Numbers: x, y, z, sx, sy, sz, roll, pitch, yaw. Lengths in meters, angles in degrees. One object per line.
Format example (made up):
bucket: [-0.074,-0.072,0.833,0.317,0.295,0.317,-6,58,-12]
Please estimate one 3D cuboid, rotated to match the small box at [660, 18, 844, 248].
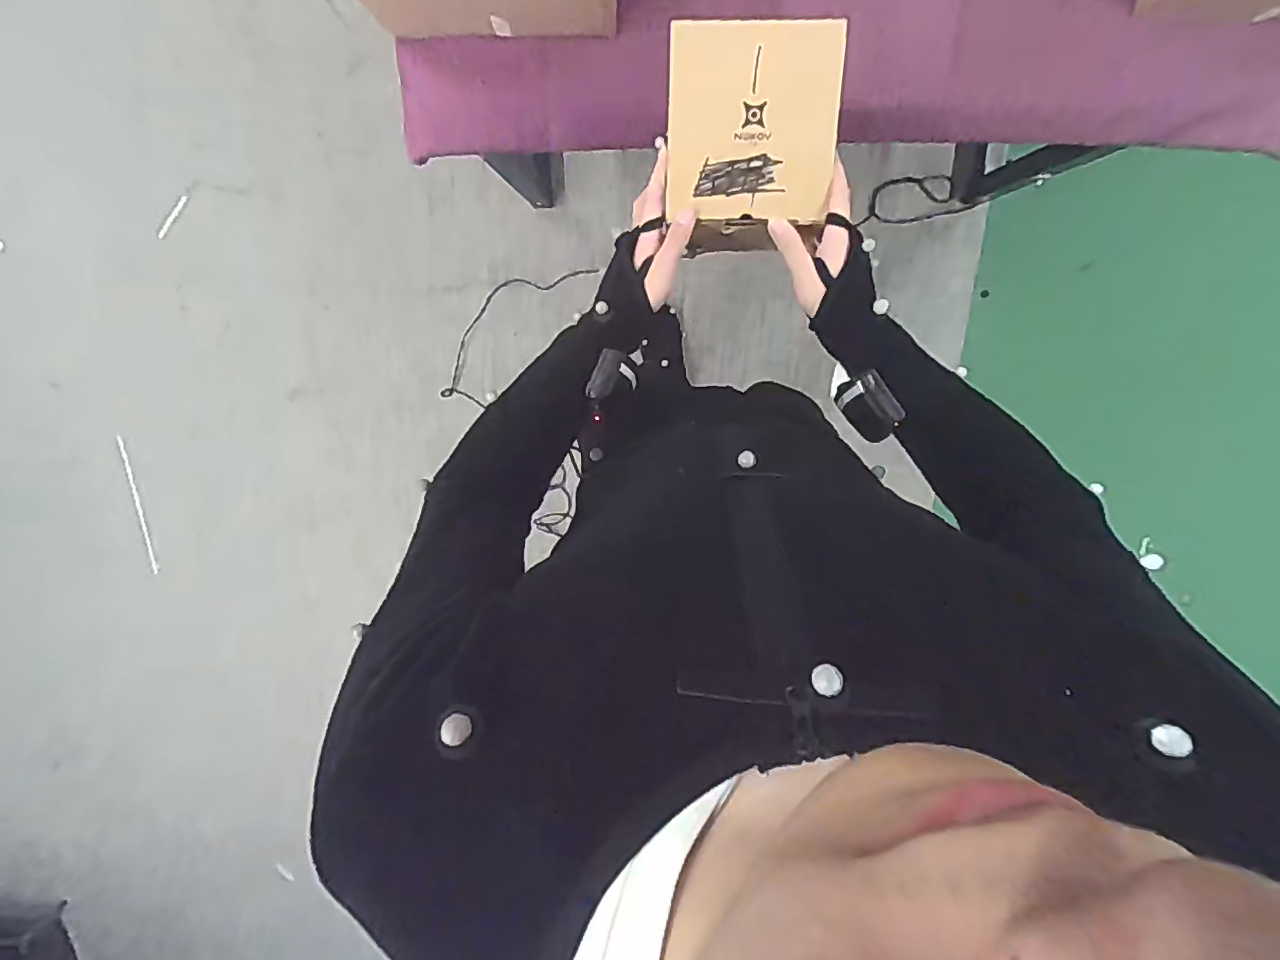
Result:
small box: [0.110,-0.362,0.599,0.168,0.176,0.179,2,103,2]
